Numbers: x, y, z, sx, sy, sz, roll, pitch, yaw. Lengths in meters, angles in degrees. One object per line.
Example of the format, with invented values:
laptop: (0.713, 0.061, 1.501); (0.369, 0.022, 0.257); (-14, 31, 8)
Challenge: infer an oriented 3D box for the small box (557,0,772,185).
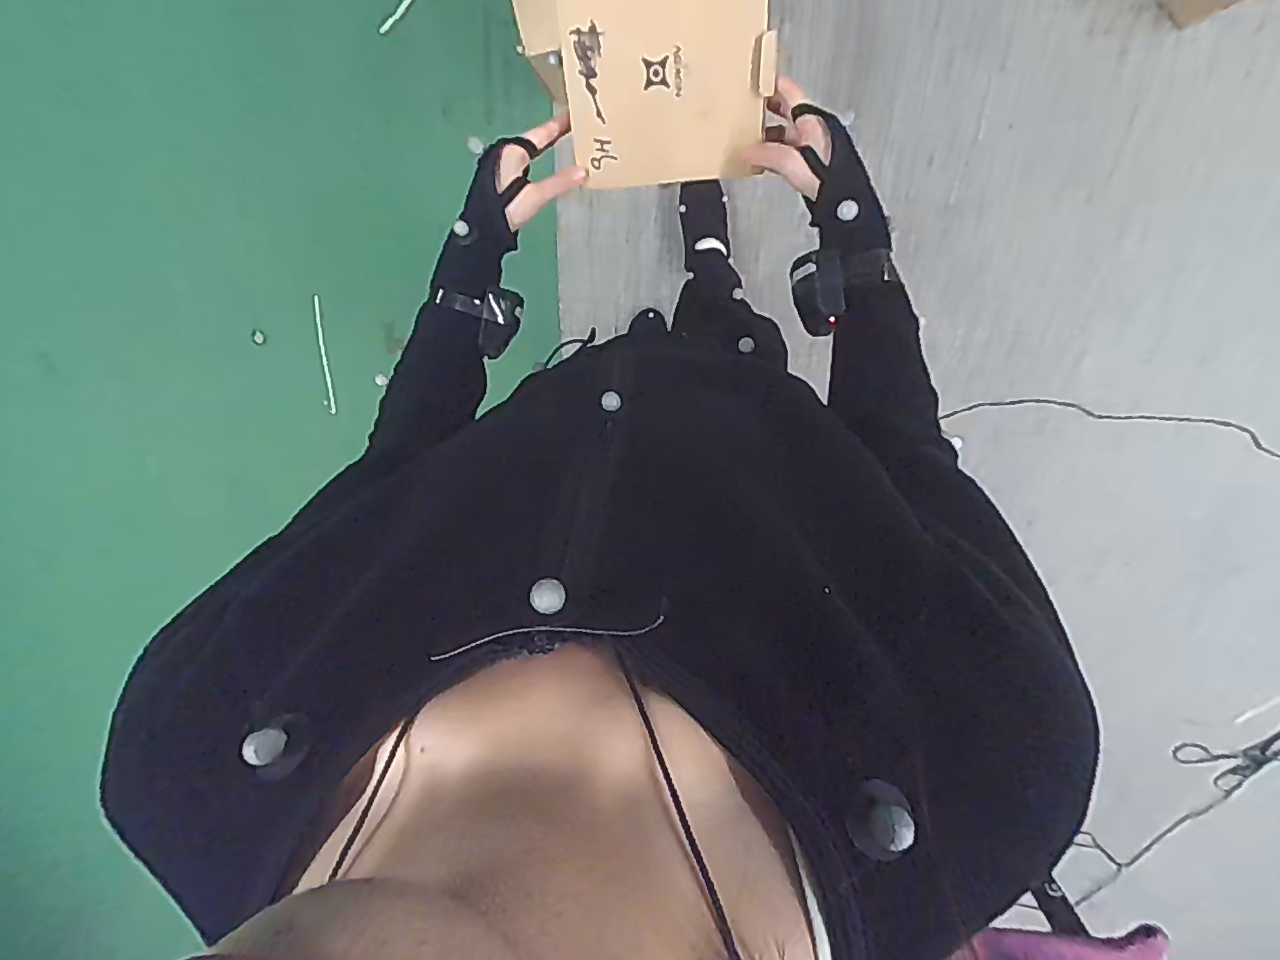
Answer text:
small box: (0.020, -0.390, 0.521); (0.179, 0.176, 0.168); (-5, 122, 1)

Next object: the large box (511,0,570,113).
large box: (-0.031, -0.968, 1.033); (0.408, 0.320, 0.320); (-10, 108, 8)
